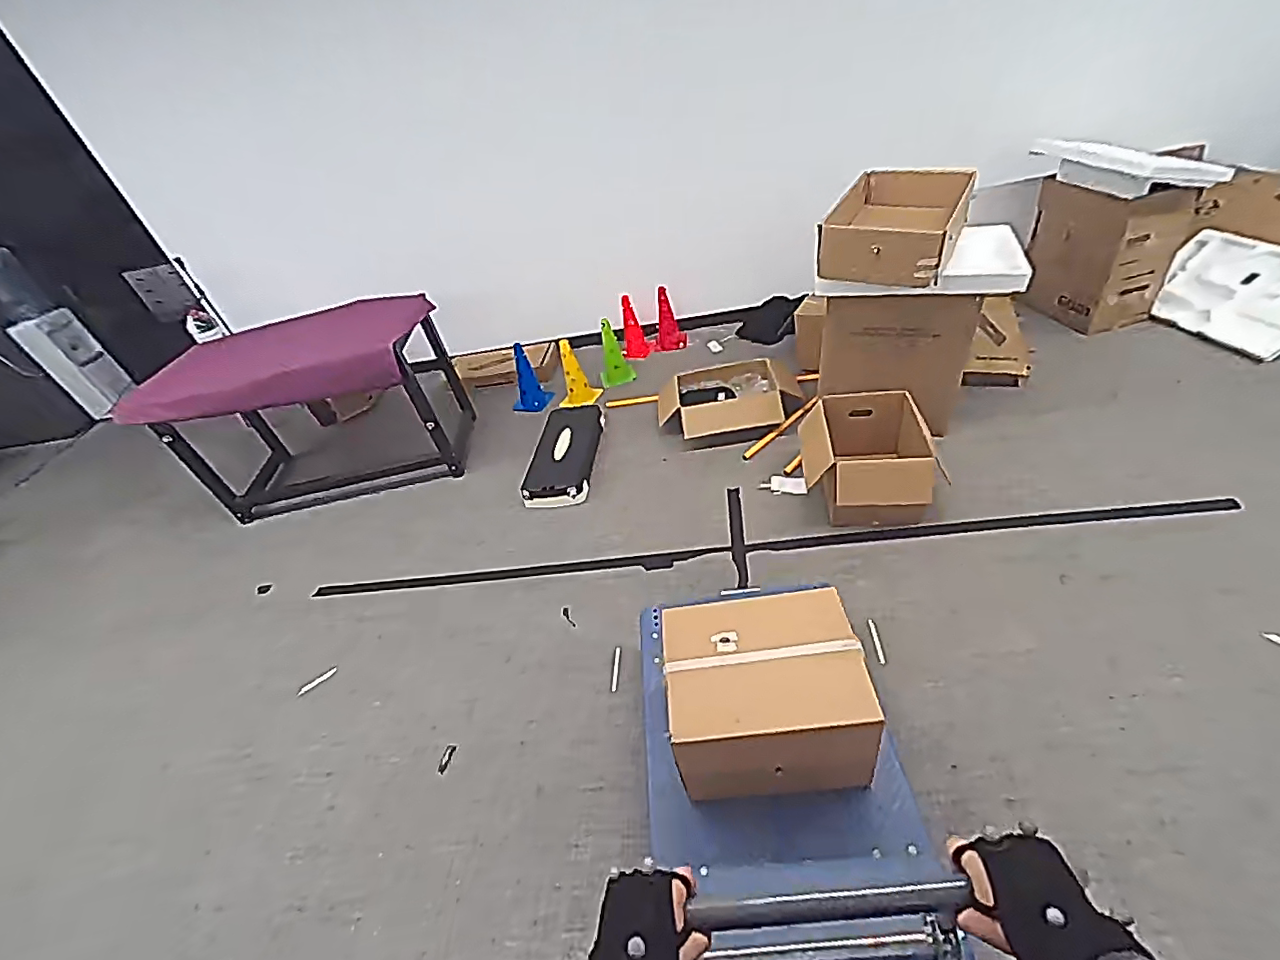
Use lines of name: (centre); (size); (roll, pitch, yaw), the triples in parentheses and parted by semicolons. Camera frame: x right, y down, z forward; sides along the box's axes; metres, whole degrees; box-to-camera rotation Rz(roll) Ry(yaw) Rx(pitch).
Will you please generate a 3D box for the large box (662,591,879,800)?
large box: (0.283, 0.499, 1.244); (0.408, 0.320, 0.320); (-10, 39, 6)
